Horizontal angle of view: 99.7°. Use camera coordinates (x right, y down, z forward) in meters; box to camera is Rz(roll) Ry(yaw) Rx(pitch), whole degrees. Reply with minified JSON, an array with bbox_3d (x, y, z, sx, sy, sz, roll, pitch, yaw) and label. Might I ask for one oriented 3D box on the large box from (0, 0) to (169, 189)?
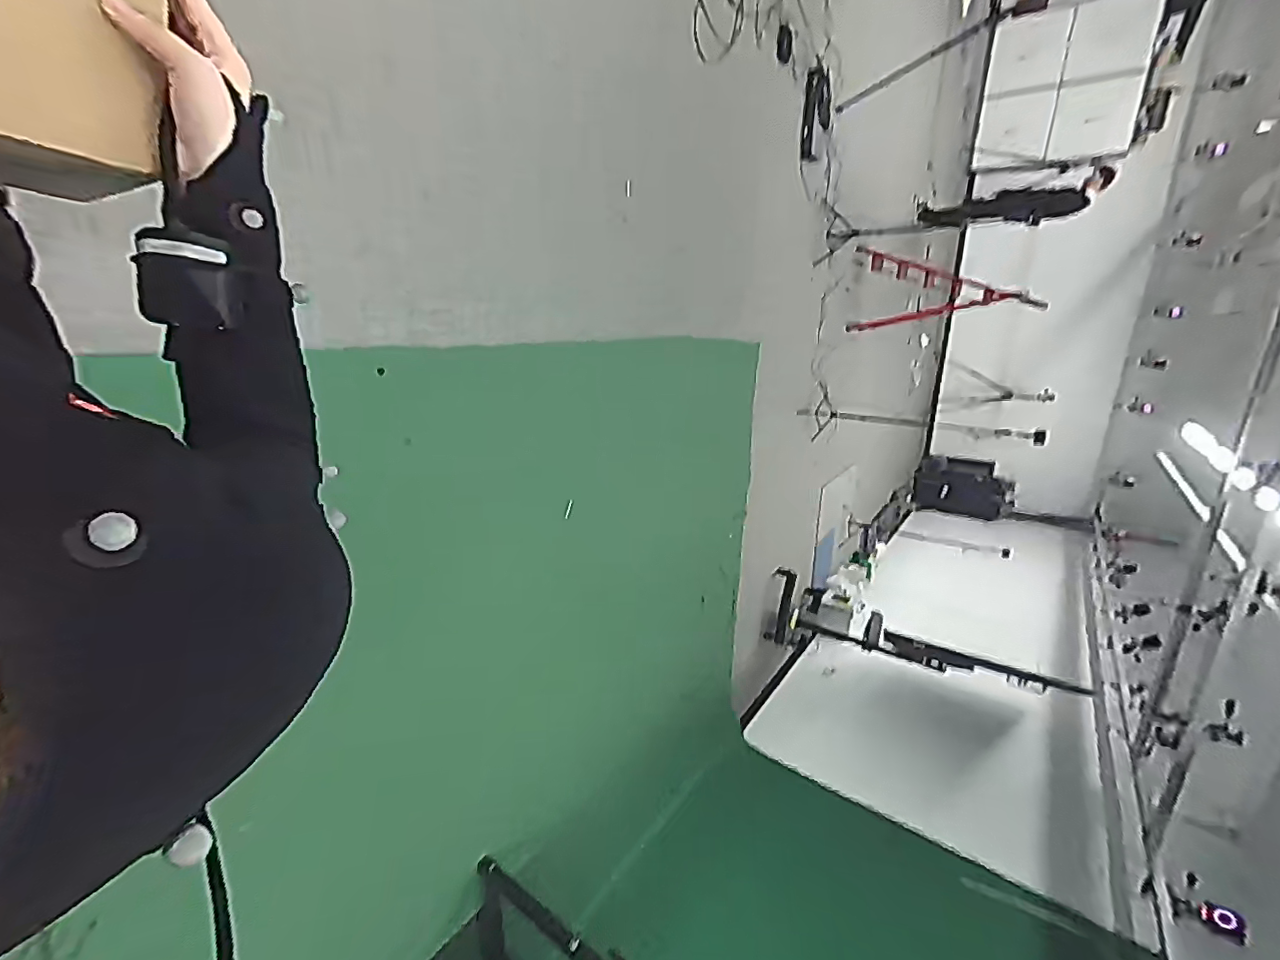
[{"bbox_3d":[-0.560,-0.387,0.283,0.408,0.320,0.320,-10,112,-53],"label":"large box"}]
